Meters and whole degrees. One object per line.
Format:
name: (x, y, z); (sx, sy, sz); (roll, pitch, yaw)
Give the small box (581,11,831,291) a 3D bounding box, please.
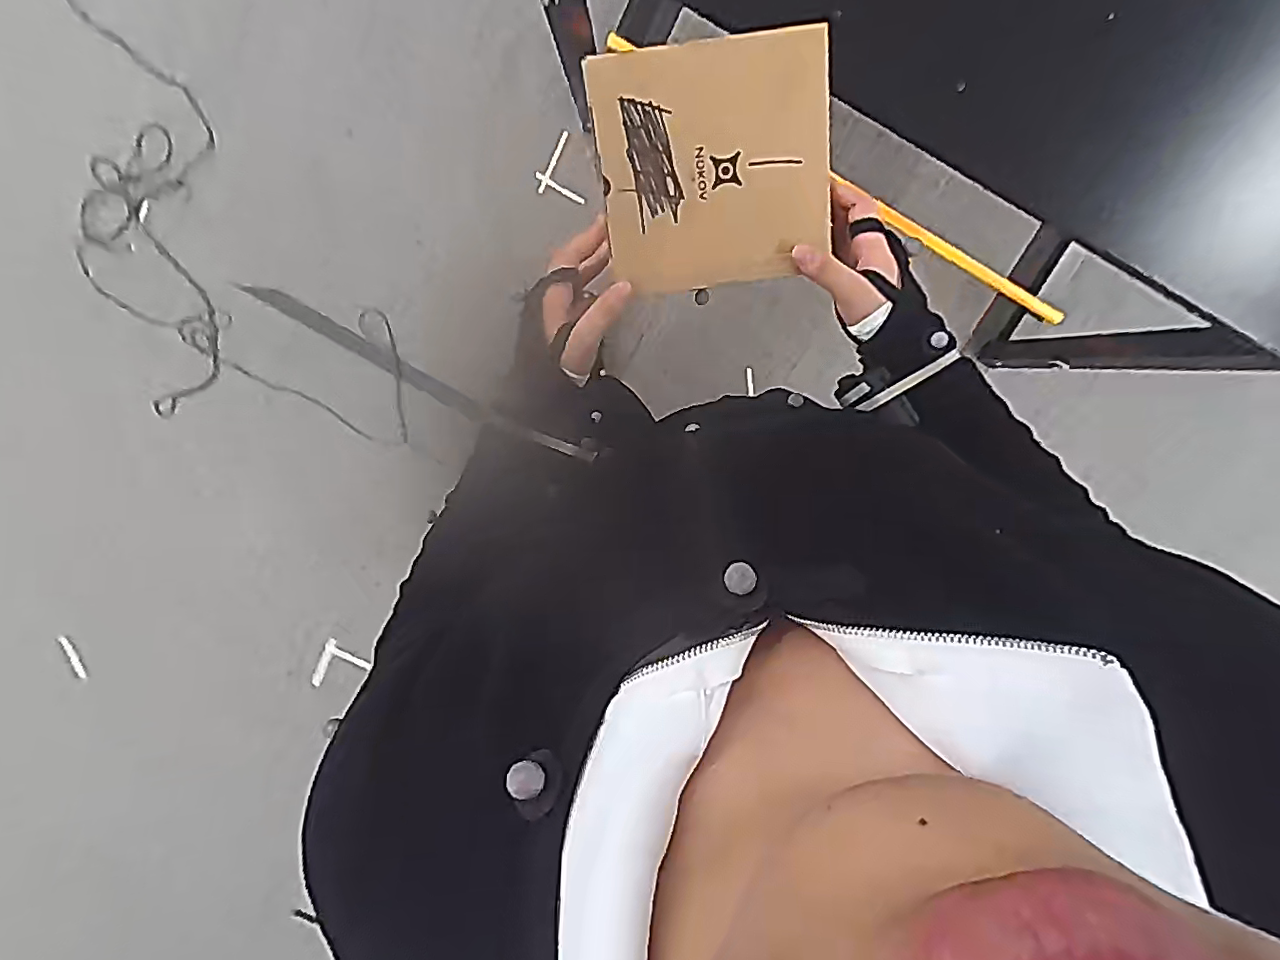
small box: (0.051, -0.261, 0.472); (0.179, 0.176, 0.168); (-7, 109, 0)
